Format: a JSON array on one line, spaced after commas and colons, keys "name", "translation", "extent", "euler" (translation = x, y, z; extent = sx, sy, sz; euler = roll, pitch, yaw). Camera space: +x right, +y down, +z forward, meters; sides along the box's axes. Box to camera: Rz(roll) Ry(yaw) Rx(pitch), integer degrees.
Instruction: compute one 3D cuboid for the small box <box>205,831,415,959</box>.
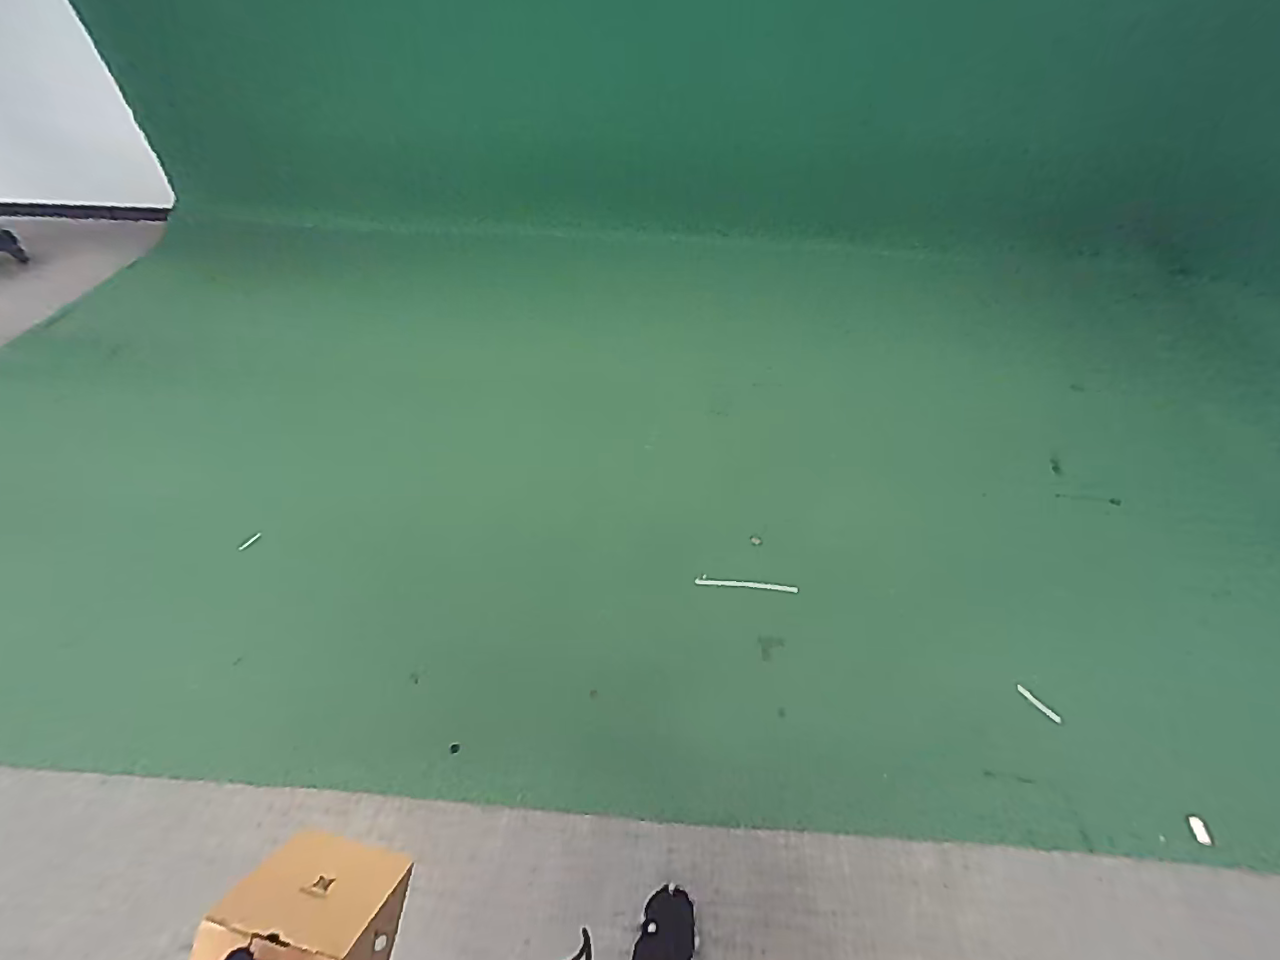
[{"name": "small box", "translation": [-0.411, 0.583, 0.665], "extent": [0.168, 0.179, 0.176], "euler": [12, 86, 2]}]
